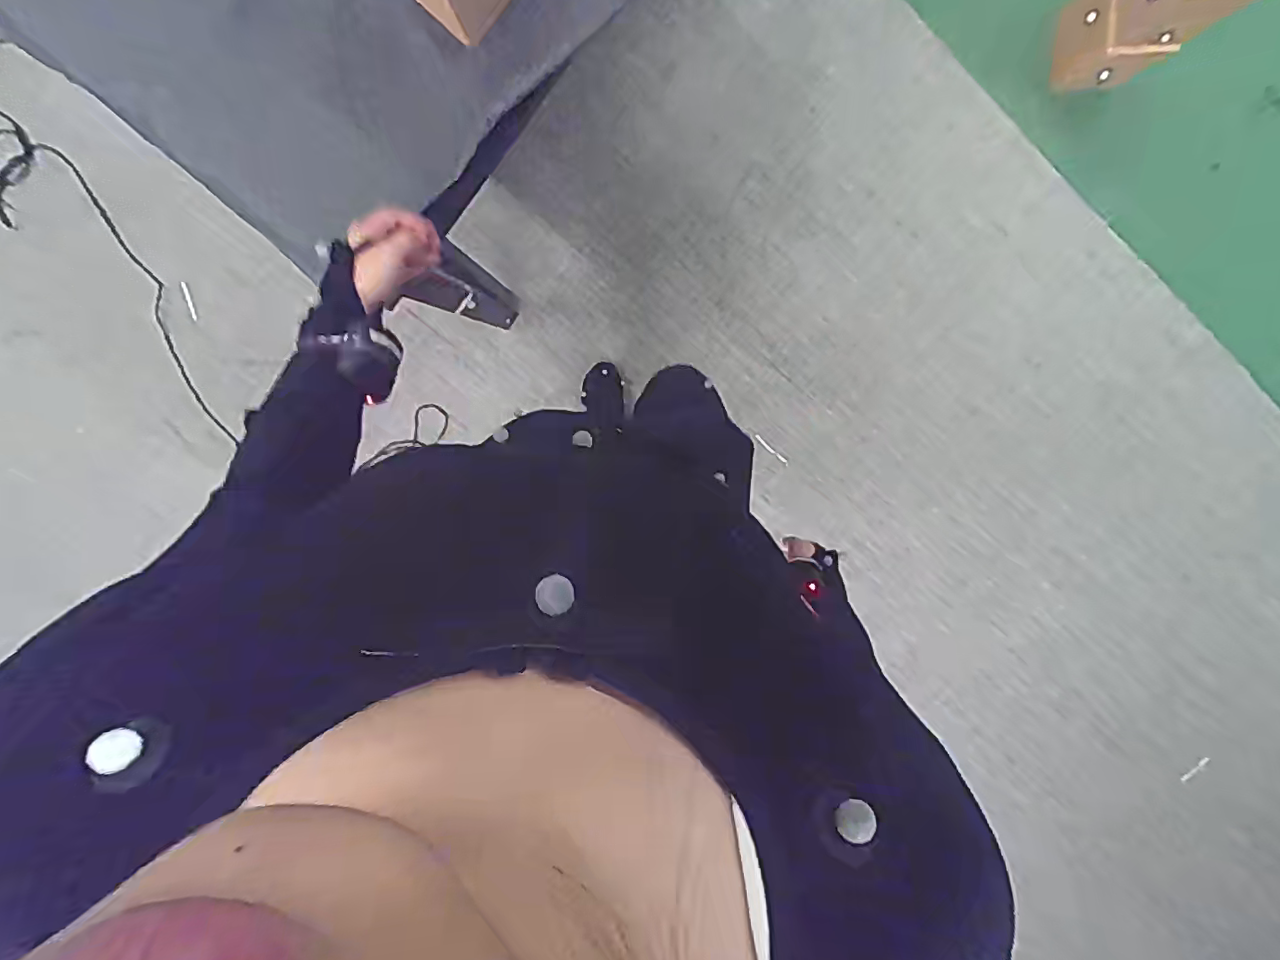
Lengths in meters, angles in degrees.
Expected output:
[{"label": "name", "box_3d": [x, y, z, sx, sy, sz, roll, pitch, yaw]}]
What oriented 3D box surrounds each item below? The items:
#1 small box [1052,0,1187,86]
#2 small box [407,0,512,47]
[{"label": "small box", "box_3d": [1.079, -1.028, 1.228, 0.168, 0.176, 0.179, -5, 101, 0]}, {"label": "small box", "box_3d": [-0.213, -0.597, 0.536, 0.179, 0.176, 0.168, 39, 98, -7]}]
